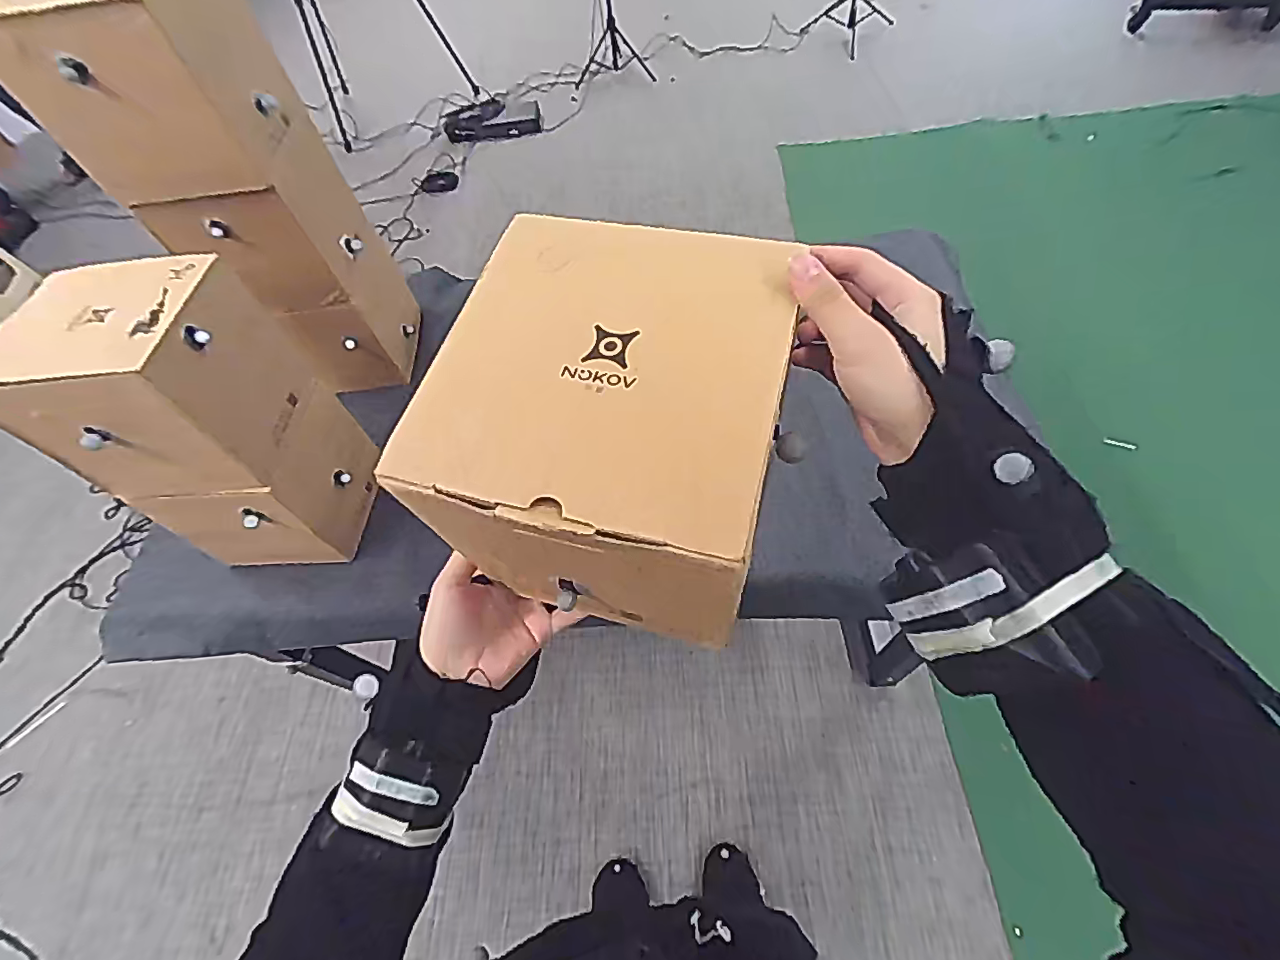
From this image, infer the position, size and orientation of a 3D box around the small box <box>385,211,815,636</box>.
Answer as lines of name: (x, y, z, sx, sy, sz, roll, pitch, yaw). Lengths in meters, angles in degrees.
small box: (-0.005, -0.024, 0.325, 0.168, 0.176, 0.179, 12, 66, 13)

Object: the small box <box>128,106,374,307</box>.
small box: (-0.483, -0.346, 0.705, 0.179, 0.176, 0.168, -7, 60, 1)

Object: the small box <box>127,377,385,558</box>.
small box: (-0.457, -0.010, 0.682, 0.179, 0.176, 0.168, -2, 56, 5)

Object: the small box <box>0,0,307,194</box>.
small box: (-0.495, -0.422, 0.559, 0.179, 0.176, 0.168, -5, 60, 2)

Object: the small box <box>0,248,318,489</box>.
small box: (-0.477, -0.103, 0.549, 0.179, 0.176, 0.168, -6, 56, 4)
